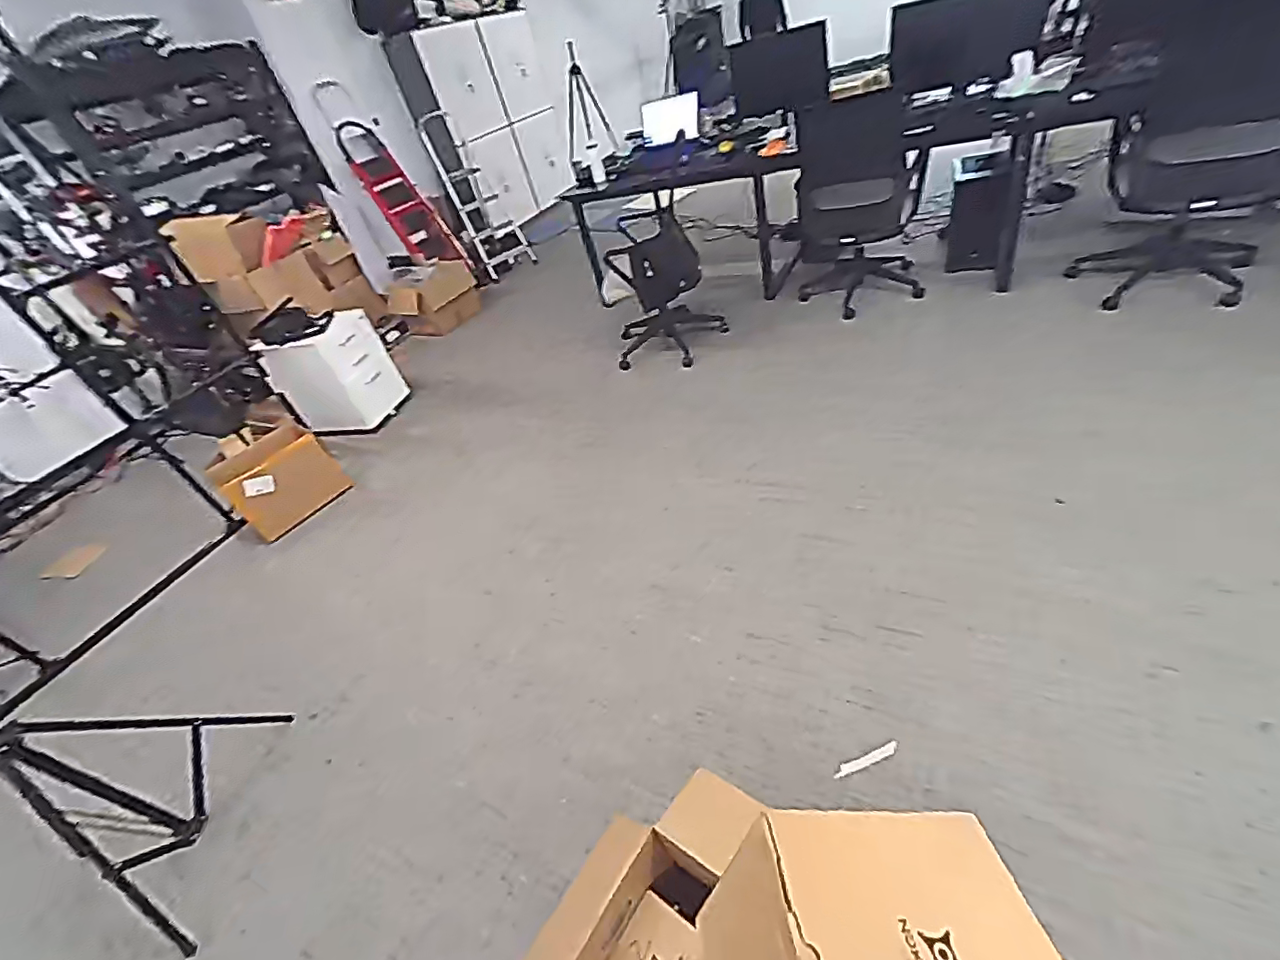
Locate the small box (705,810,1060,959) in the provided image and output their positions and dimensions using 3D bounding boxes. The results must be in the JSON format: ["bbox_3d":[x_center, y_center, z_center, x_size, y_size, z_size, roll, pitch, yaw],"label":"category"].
[{"bbox_3d":[0.161,0.353,0.363,0.179,0.176,0.168,8,30,-11],"label":"small box"}]
